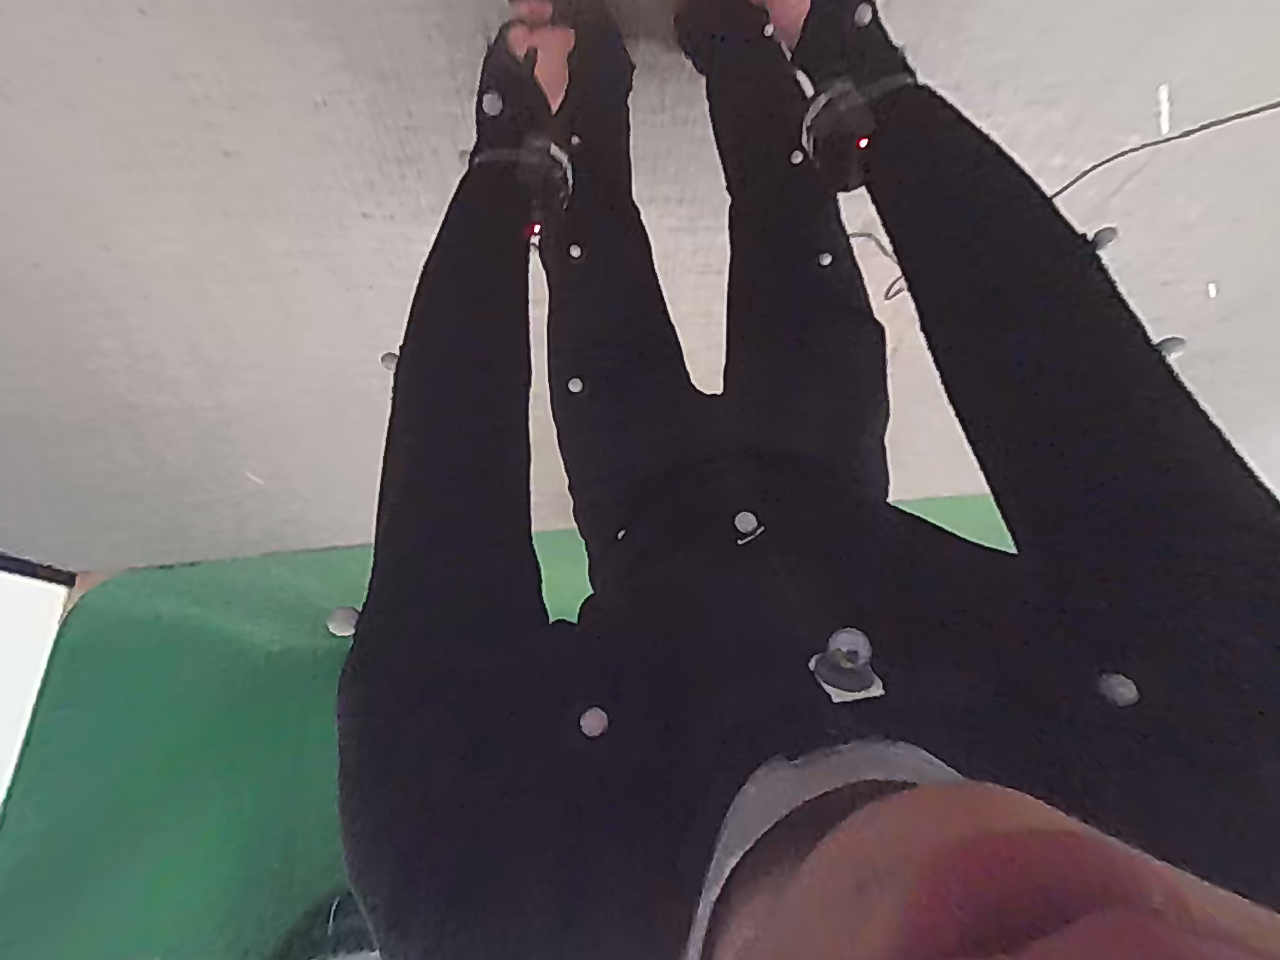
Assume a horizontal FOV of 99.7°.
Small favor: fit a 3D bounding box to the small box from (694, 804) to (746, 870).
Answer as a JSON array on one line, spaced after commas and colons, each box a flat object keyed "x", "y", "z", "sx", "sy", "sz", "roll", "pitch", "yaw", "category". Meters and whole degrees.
[{"x": 0.292, "y": 1.316, "z": 2.000, "sx": 0.168, "sy": 0.176, "sz": 0.179, "roll": -6, "pitch": 158, "yaw": 5, "category": "small box"}]
